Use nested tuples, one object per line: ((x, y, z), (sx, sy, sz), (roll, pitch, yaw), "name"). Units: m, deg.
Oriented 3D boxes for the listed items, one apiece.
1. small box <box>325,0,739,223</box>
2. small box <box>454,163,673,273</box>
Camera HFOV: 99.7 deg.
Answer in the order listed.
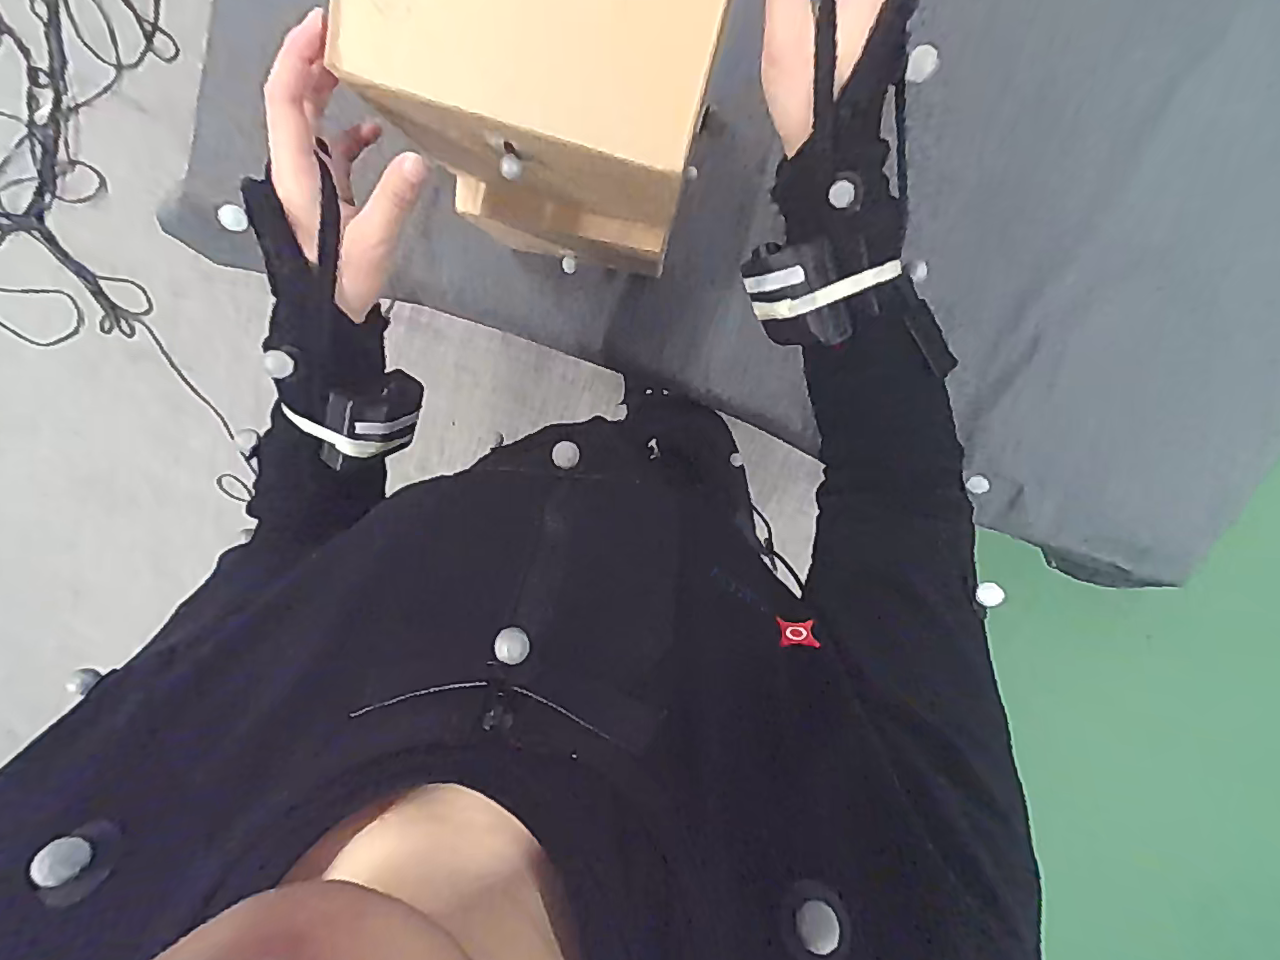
((-0.039, -0.265, 0.309), (0.179, 0.176, 0.168), (15, 106, -3), "small box")
((-0.043, -0.293, 0.470), (0.168, 0.176, 0.179), (12, 105, -1), "small box")
